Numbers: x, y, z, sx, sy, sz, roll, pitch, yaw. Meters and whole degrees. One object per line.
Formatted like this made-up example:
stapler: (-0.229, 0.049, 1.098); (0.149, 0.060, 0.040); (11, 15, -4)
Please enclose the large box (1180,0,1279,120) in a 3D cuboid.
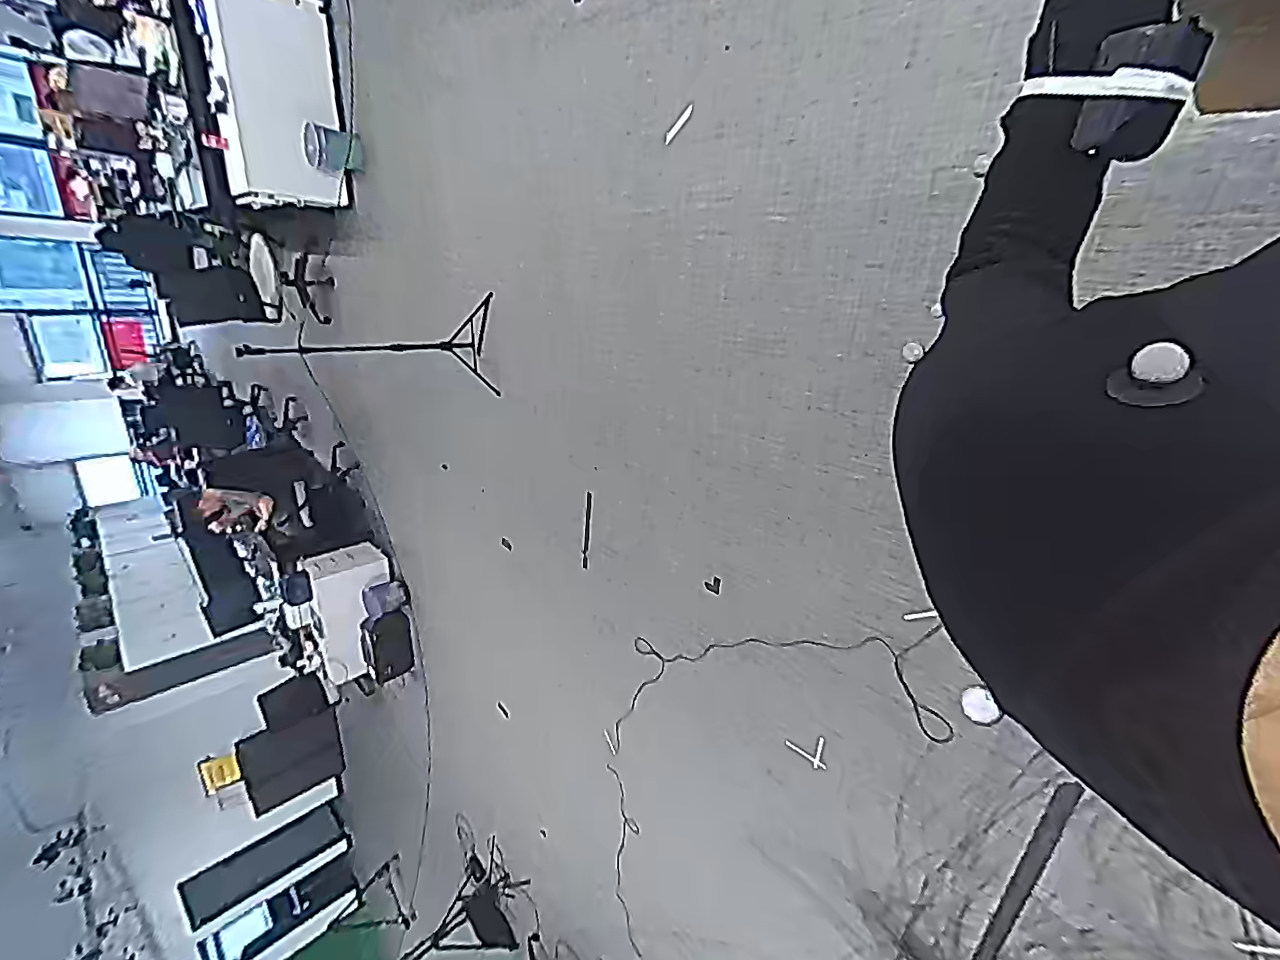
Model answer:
large box: (0.560, -0.385, 0.226); (0.408, 0.320, 0.320); (27, 120, 40)
